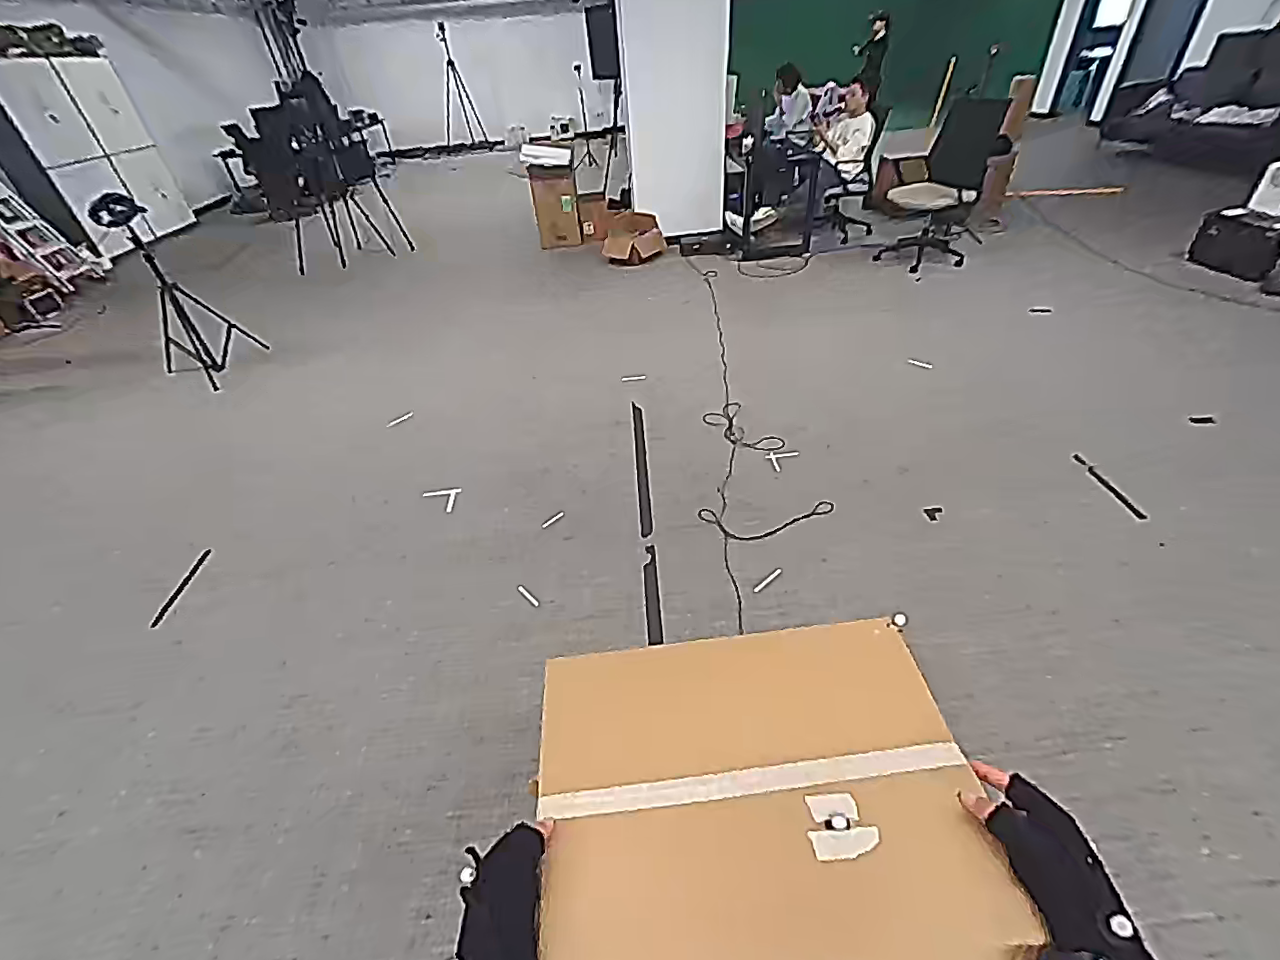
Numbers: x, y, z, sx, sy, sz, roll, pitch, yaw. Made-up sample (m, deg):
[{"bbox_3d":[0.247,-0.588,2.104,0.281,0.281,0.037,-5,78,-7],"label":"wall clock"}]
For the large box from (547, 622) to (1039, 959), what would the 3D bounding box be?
[{"bbox_3d":[0.117,0.407,0.630,0.408,0.320,0.320,-7,42,-1],"label":"large box"}]
